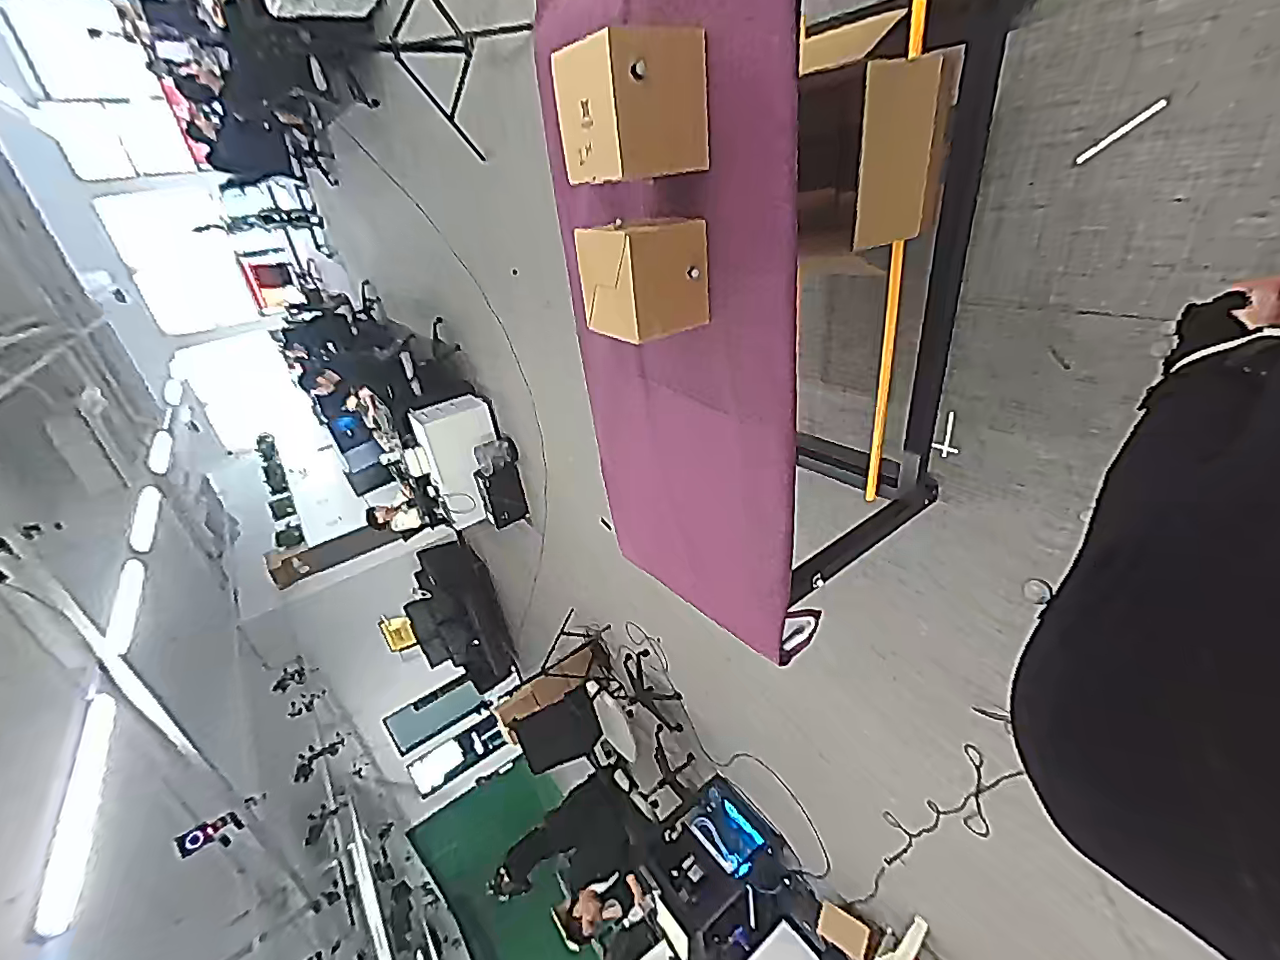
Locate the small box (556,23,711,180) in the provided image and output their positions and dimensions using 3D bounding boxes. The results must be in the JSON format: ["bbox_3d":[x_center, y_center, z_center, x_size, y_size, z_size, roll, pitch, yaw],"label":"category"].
[{"bbox_3d":[-0.006,-0.567,0.828,0.168,0.176,0.179,33,138,48],"label":"small box"}]

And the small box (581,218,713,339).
[{"bbox_3d":[0.011,-0.359,0.958,0.168,0.176,0.179,32,138,47],"label":"small box"}]
